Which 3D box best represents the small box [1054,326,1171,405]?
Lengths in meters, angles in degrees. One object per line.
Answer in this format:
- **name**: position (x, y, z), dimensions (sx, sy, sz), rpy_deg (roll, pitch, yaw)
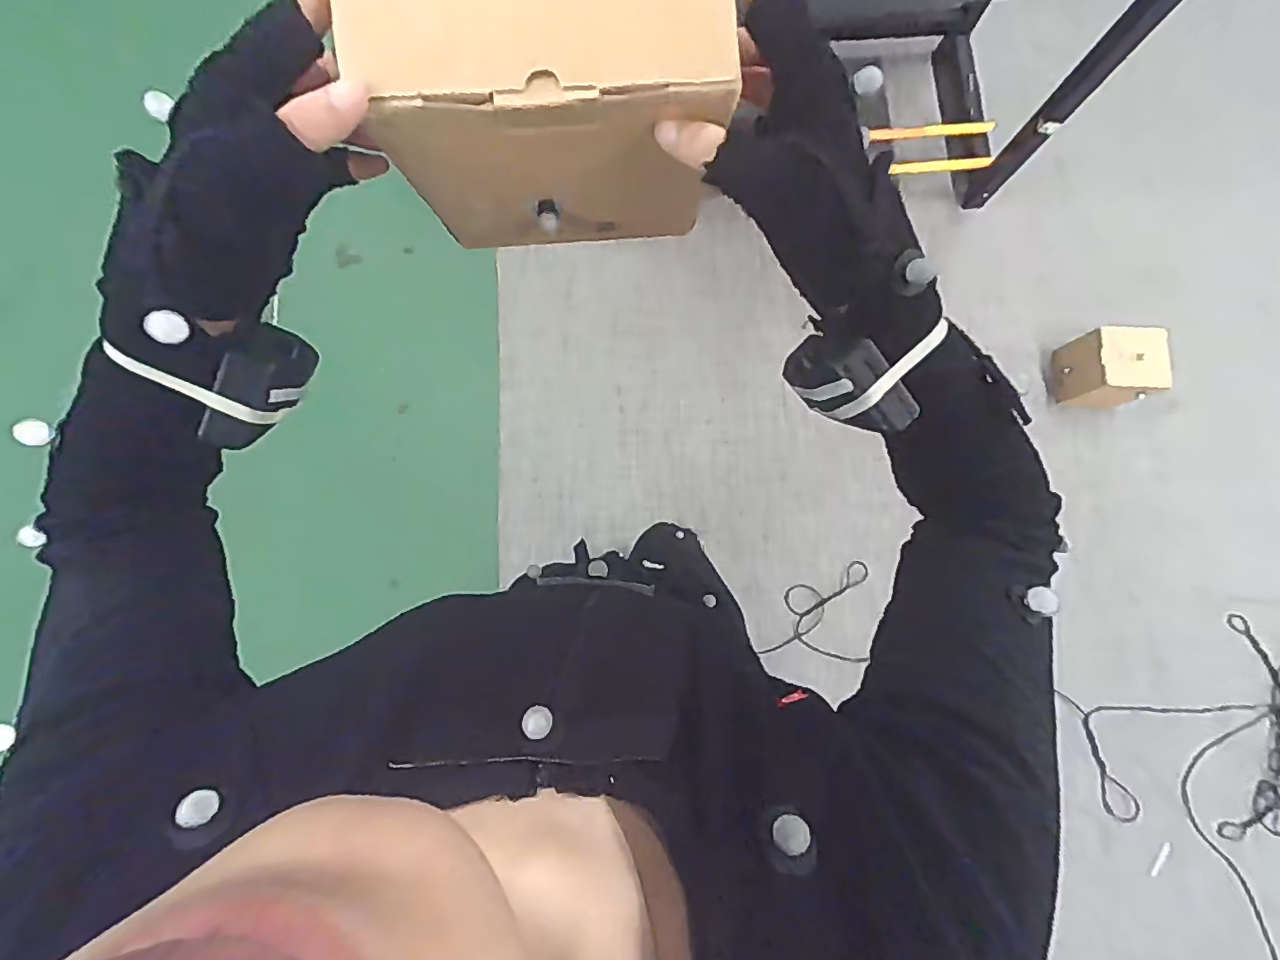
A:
- **small box**: position (1.295, -0.310, 1.492), dimensions (0.179, 0.176, 0.168), rpy_deg (2, 81, 1)
